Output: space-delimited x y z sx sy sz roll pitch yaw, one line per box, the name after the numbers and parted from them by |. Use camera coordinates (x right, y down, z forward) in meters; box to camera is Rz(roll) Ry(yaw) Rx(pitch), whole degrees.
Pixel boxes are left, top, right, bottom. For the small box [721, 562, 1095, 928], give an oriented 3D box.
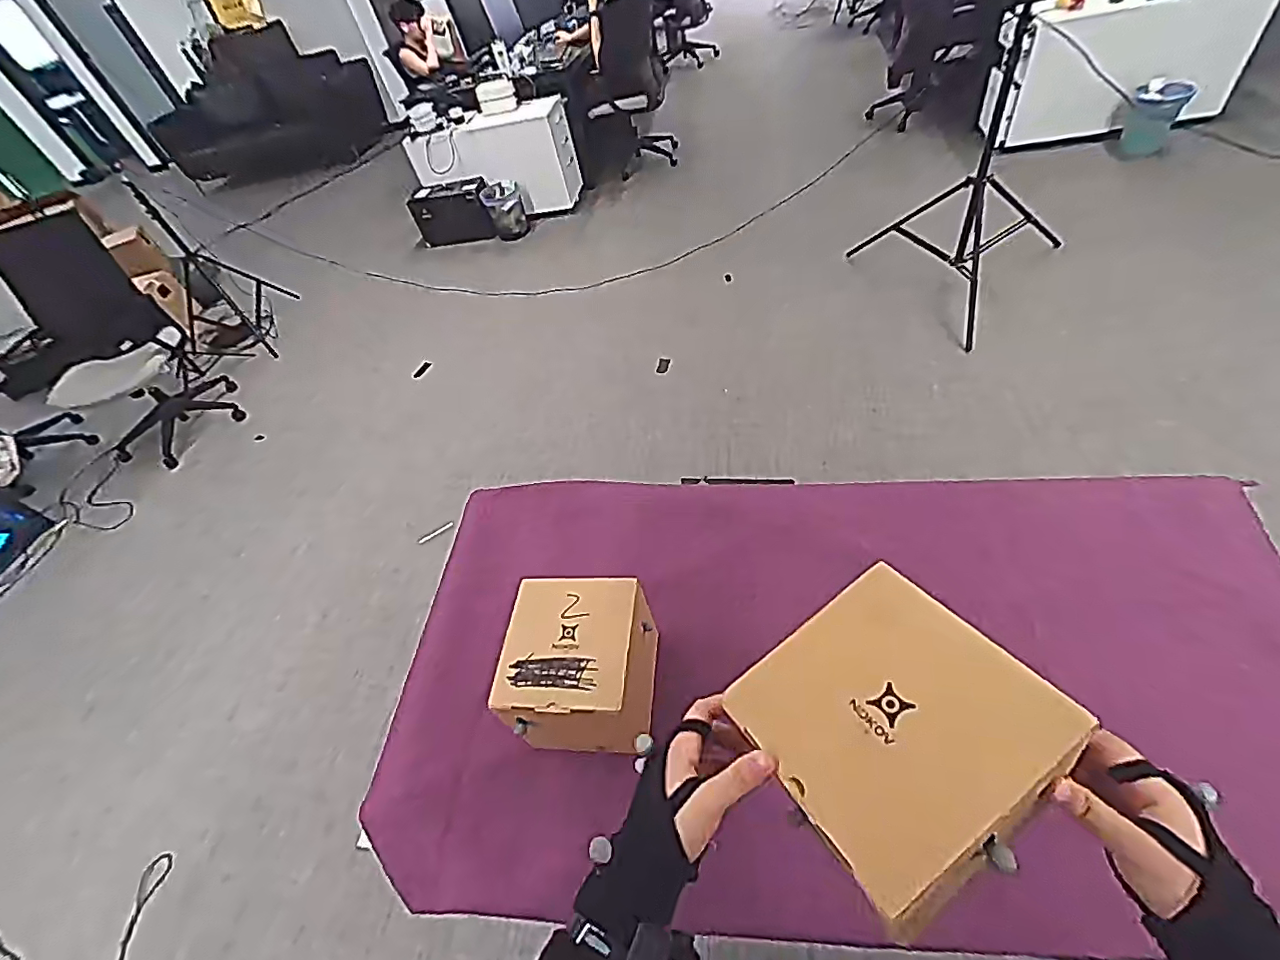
0.196 0.206 0.426 0.179 0.176 0.168 -38 45 -7 | small box
